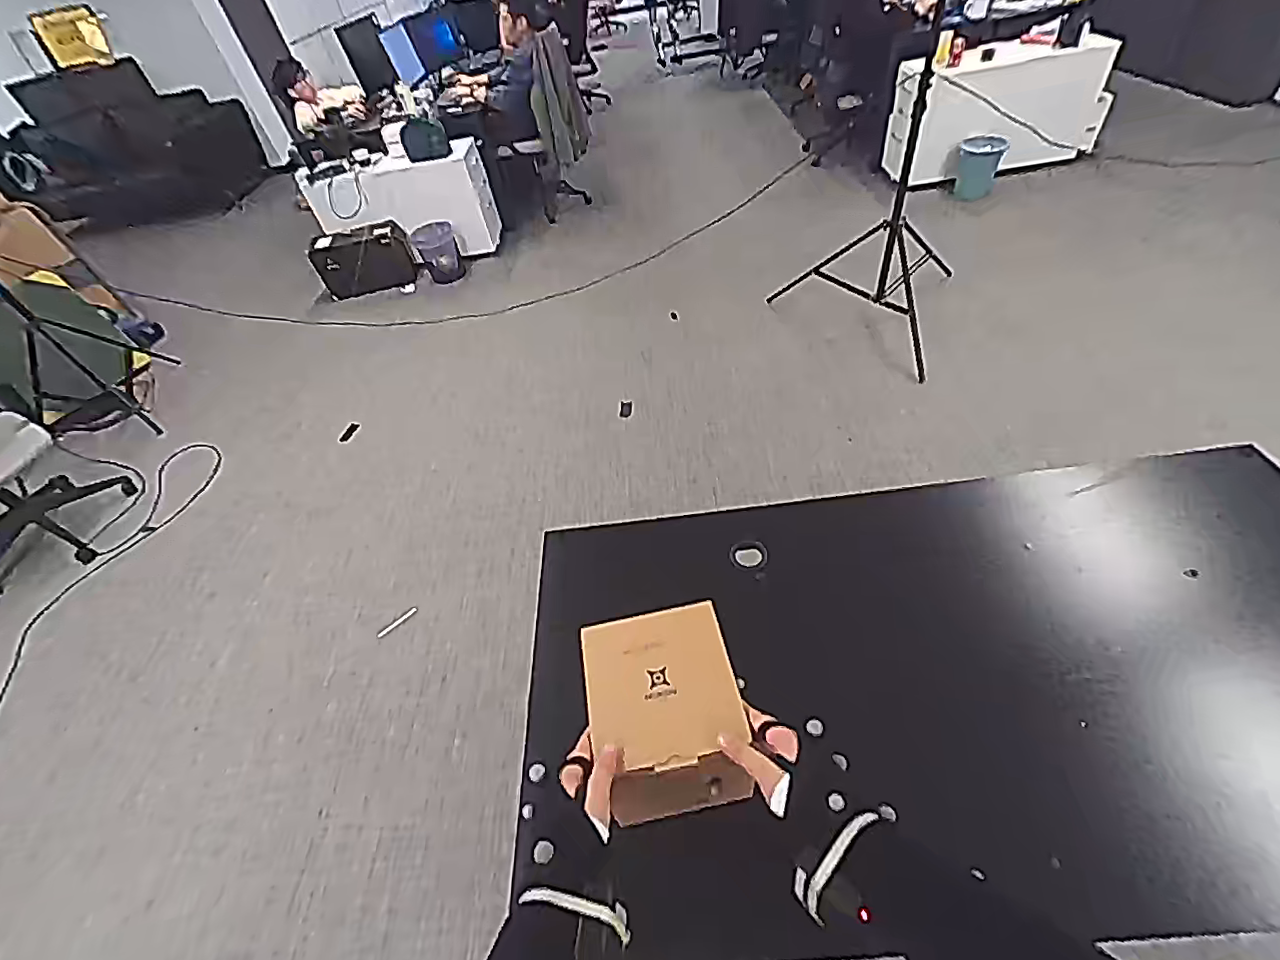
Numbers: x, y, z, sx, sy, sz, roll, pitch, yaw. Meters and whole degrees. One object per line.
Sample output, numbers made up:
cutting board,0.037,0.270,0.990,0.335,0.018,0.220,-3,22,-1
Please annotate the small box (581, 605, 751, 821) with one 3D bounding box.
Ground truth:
small box,0.031,0.283,0.649,0.168,0.176,0.179,-12,42,-2
